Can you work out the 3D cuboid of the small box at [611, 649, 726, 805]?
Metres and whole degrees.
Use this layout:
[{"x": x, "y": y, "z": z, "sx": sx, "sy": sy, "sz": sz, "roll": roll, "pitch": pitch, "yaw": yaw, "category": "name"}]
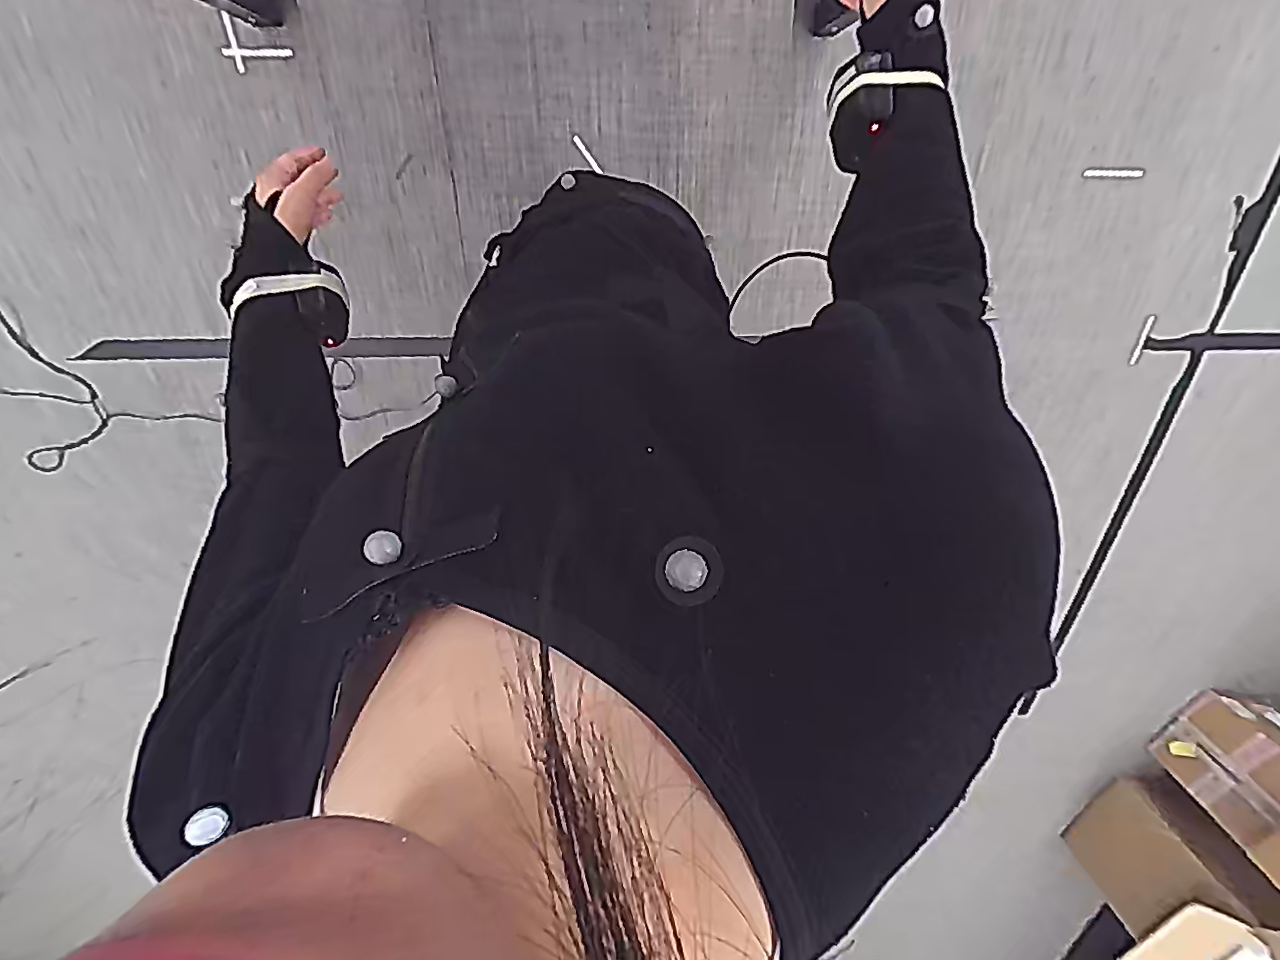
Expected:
[{"x": 0.038, "y": 0.395, "z": 0.889, "sx": 0.168, "sy": 0.176, "sz": 0.179, "roll": -2, "pitch": 119, "yaw": -4, "category": "small box"}]
